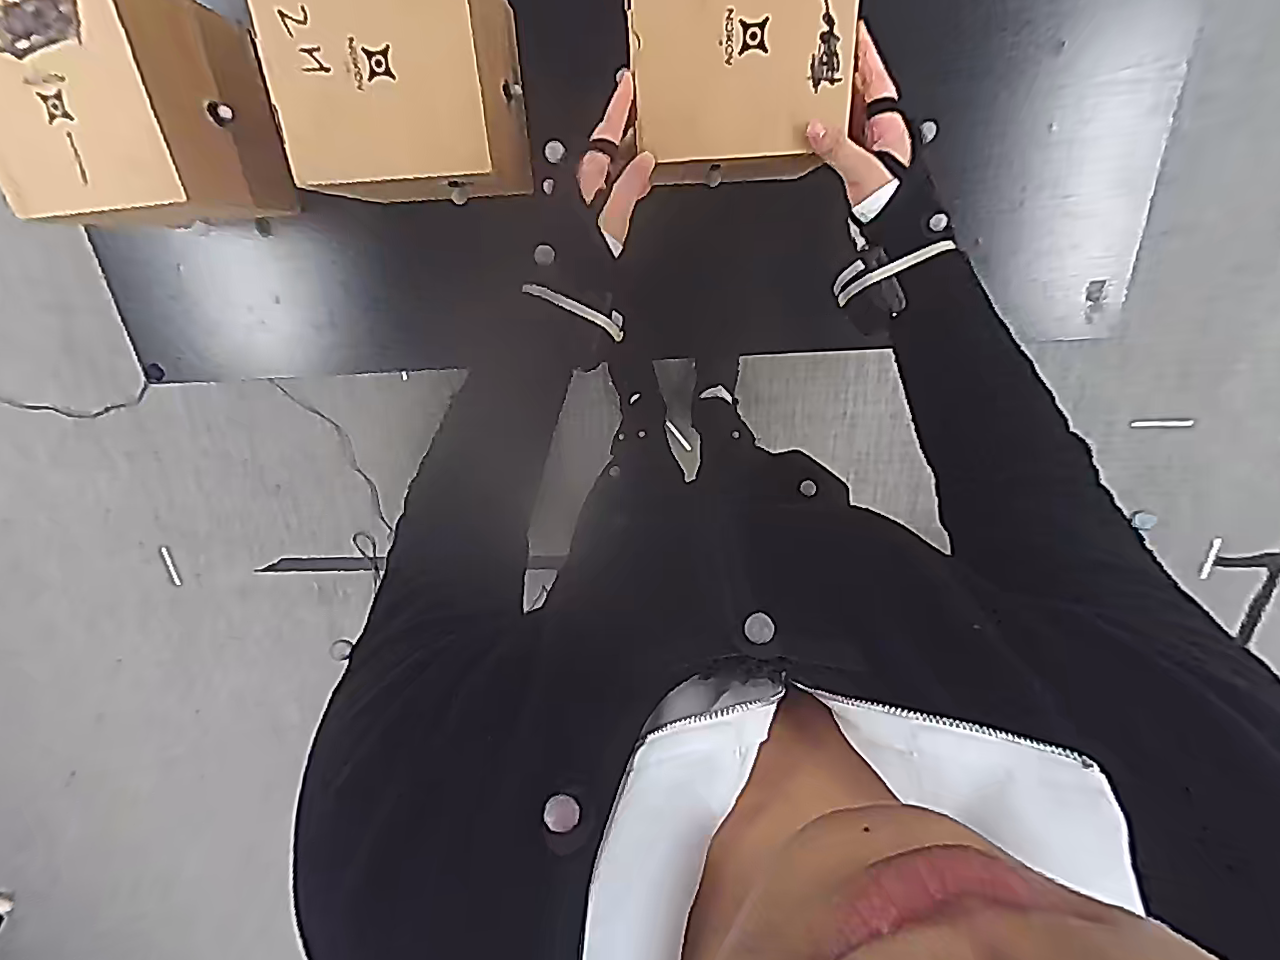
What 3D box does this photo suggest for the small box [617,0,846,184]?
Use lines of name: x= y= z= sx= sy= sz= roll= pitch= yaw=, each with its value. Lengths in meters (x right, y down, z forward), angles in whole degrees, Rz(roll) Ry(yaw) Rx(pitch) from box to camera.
small box: x=0.075 y=-0.375 z=0.494 sx=0.179 sy=0.176 sz=0.168 roll=-1 pitch=113 yaw=3

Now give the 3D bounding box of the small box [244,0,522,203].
small box: x=-0.216 y=-0.362 z=0.507 sx=0.179 sy=0.176 sz=0.168 roll=-3 pitch=112 yaw=2

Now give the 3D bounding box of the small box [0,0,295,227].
small box: x=-0.482 y=-0.349 z=0.522 sx=0.168 sy=0.176 sz=0.179 roll=-4 pitch=114 yaw=4
